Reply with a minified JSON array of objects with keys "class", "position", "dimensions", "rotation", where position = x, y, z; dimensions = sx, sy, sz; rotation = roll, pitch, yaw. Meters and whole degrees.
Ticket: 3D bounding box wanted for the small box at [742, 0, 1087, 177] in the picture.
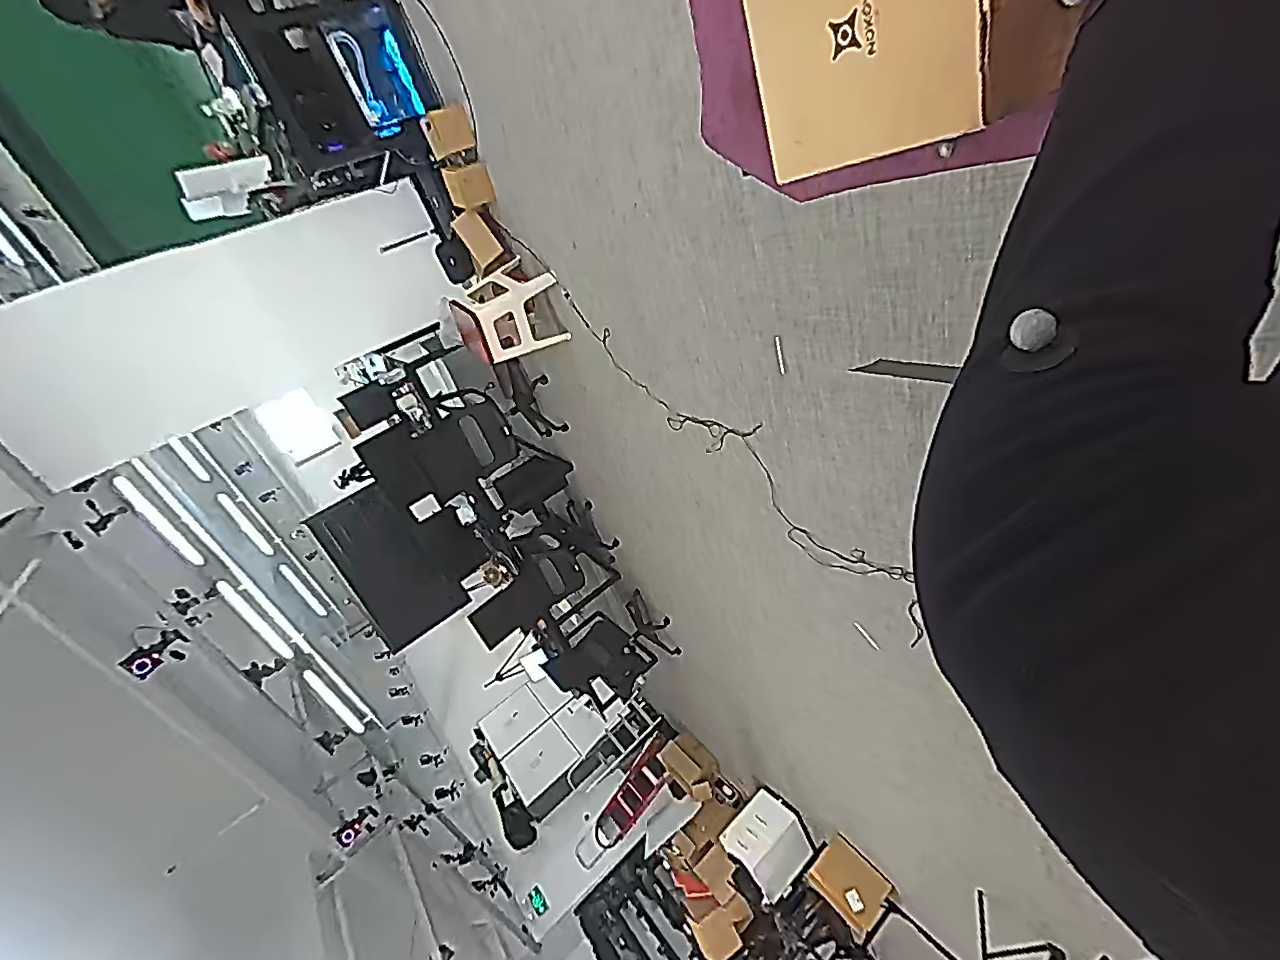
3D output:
[{"class":"small box","position":[0.207,-0.360,0.415],"dimensions":[0.179,0.176,0.168],"rotation":[19,137,52]}]
